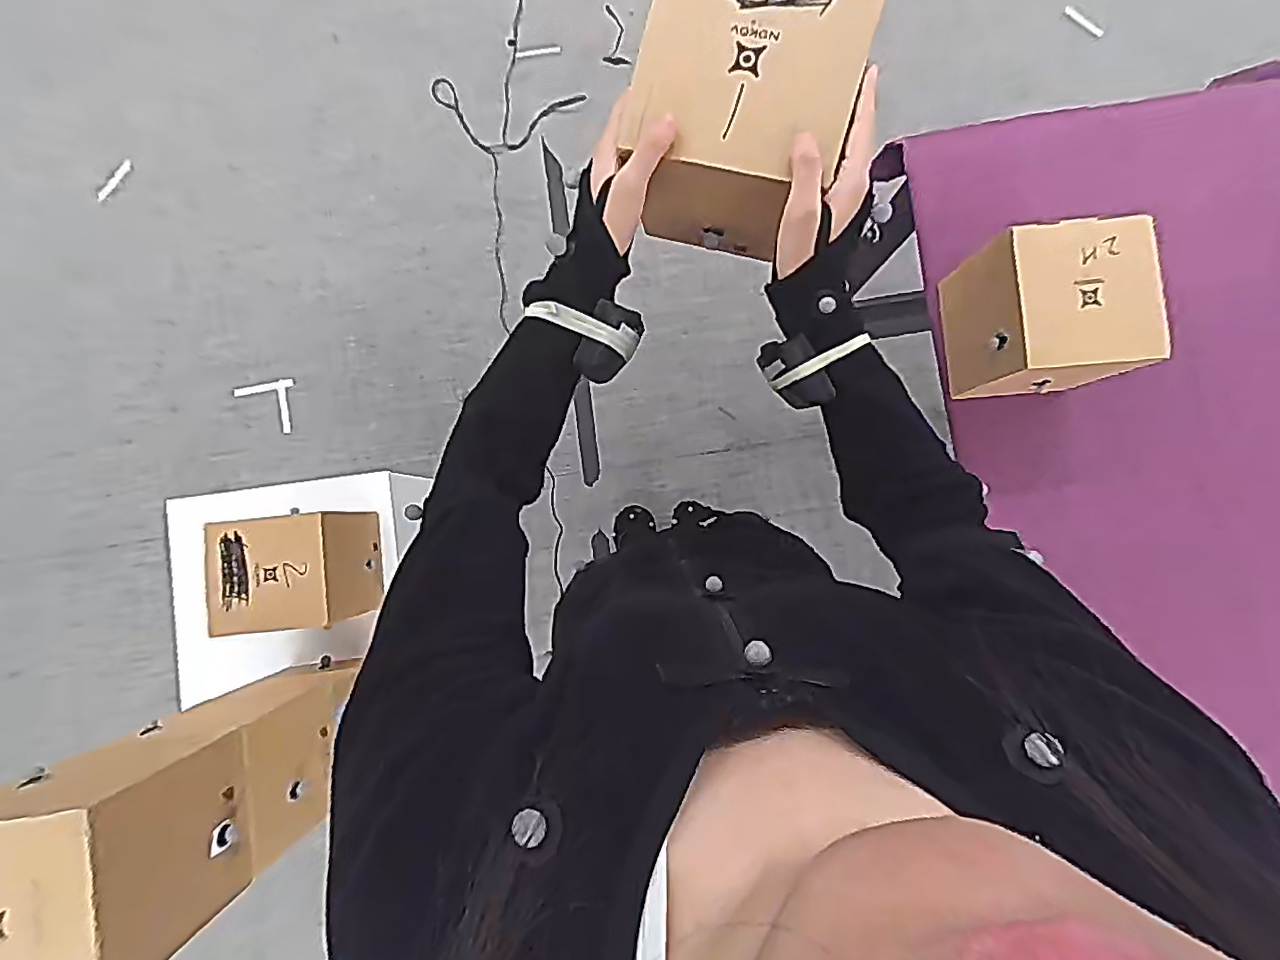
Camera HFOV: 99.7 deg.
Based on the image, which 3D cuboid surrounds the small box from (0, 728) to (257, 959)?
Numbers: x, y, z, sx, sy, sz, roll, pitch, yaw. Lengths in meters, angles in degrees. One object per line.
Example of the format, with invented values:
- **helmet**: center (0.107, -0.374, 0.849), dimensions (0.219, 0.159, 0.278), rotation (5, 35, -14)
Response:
- **small box**: center (-0.508, 0.355, 0.506), dimensions (0.179, 0.176, 0.168), rotation (-9, 87, 0)

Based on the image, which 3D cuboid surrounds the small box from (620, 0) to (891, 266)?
- **small box**: center (0.094, -0.314, 0.468), dimensions (0.168, 0.176, 0.179), rotation (16, 95, 8)

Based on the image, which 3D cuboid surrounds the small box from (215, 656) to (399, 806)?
- **small box**: center (-0.499, 0.380, 0.829), dimensions (0.179, 0.176, 0.168), rotation (-7, 87, 2)

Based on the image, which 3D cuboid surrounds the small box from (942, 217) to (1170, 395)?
- **small box**: center (0.526, -0.212, 0.710), dimensions (0.168, 0.176, 0.179), rotation (-4, 86, 1)

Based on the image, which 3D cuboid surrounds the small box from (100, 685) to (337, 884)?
- **small box**: center (-0.502, 0.368, 0.668), dimensions (0.179, 0.176, 0.168), rotation (-9, 86, 1)
